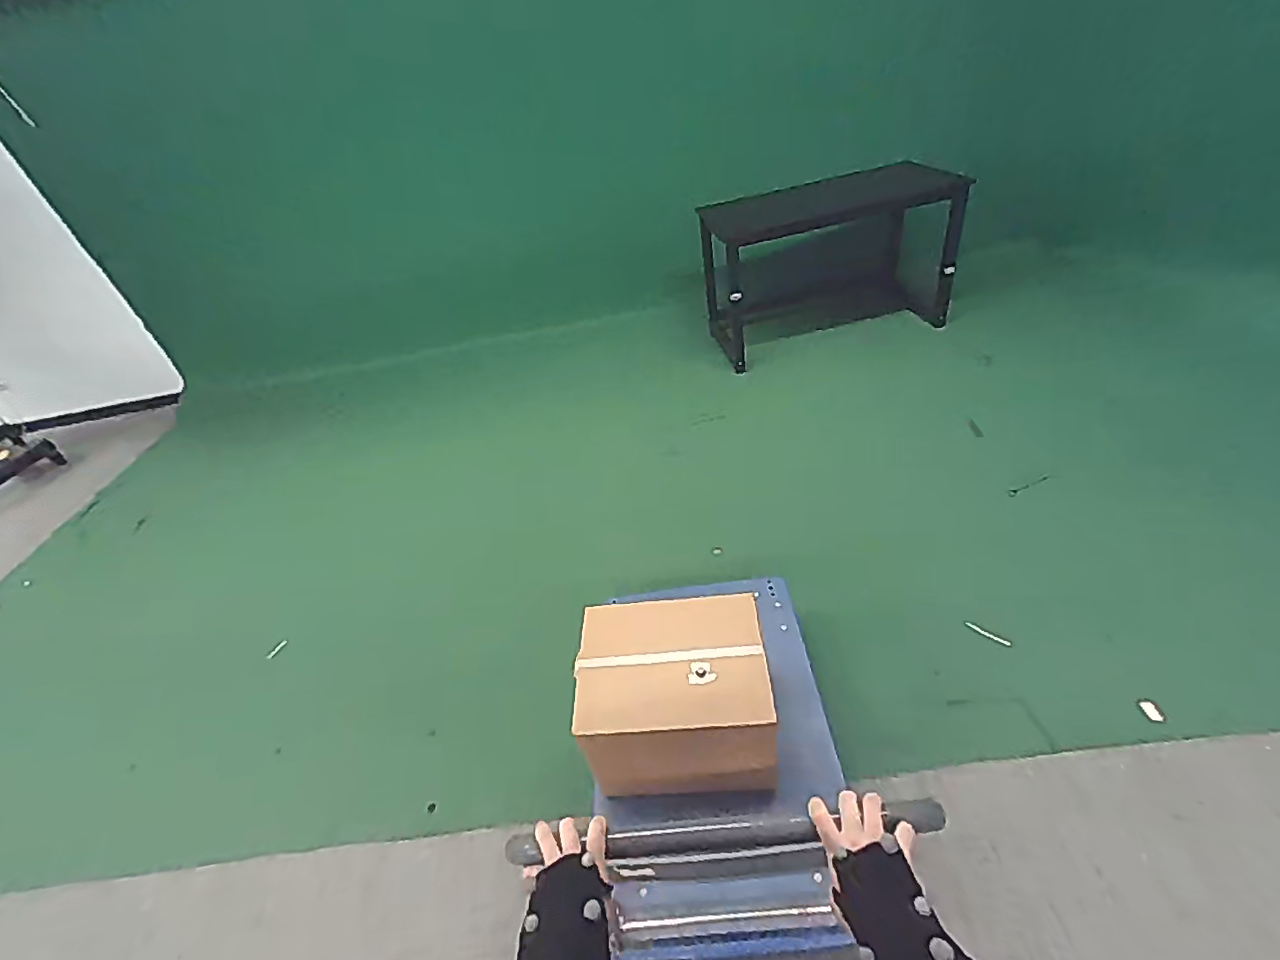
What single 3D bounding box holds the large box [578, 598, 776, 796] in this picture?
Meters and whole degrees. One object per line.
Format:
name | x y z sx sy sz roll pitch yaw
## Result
large box | 0.090 0.513 1.277 0.408 0.320 0.320 -6 39 6
